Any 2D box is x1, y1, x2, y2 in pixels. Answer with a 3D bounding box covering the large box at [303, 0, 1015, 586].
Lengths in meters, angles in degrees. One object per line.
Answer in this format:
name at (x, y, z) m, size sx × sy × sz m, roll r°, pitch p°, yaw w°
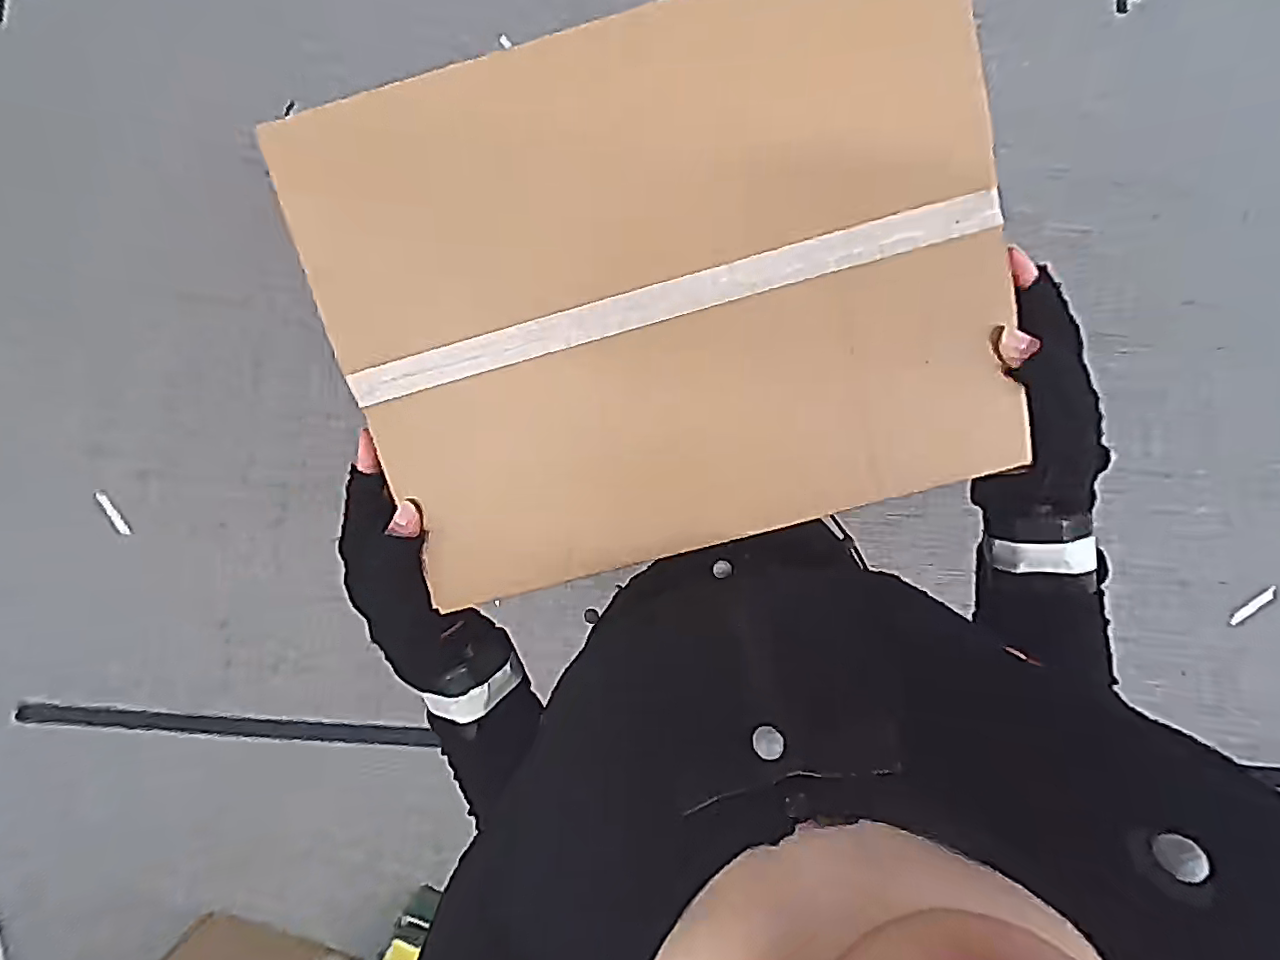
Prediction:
large box at (0.021, -0.144, 0.489) m, size 0.408 × 0.320 × 0.320 m, roll -14°, pitch 101°, yaw 3°
